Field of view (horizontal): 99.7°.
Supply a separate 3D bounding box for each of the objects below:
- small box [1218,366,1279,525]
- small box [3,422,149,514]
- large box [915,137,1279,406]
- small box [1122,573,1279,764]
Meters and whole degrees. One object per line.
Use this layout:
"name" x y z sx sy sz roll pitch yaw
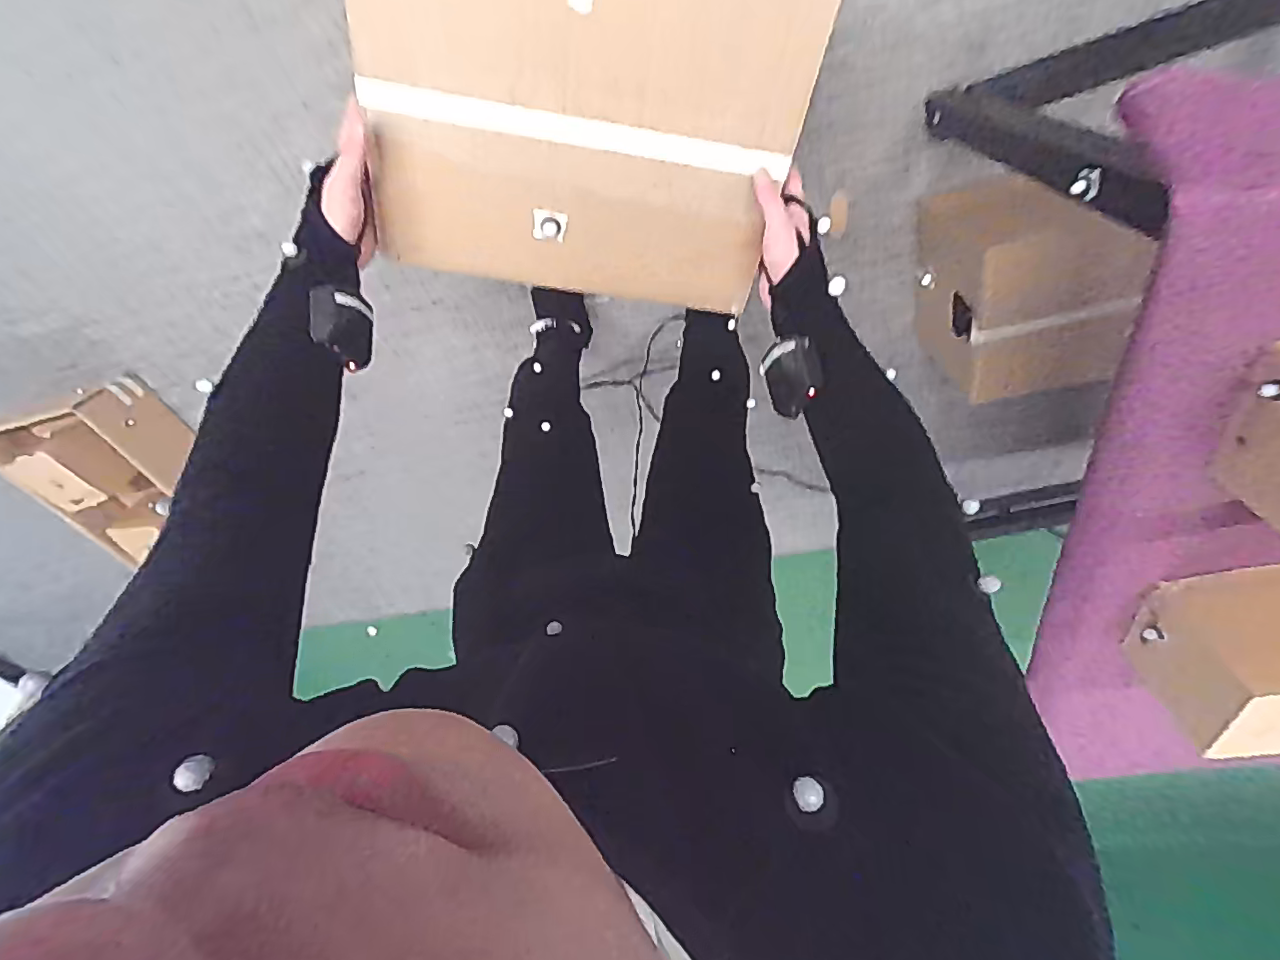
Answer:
"small box" 0.675 -0.029 0.461 0.179 0.176 0.168 -14 129 12
"small box" -1.522 -0.039 1.472 0.168 0.176 0.179 -15 129 14
"large box" 0.782 -0.392 1.020 0.408 0.320 0.320 -12 130 12
"small box" 0.782 0.235 0.686 0.179 0.176 0.168 -11 129 11
